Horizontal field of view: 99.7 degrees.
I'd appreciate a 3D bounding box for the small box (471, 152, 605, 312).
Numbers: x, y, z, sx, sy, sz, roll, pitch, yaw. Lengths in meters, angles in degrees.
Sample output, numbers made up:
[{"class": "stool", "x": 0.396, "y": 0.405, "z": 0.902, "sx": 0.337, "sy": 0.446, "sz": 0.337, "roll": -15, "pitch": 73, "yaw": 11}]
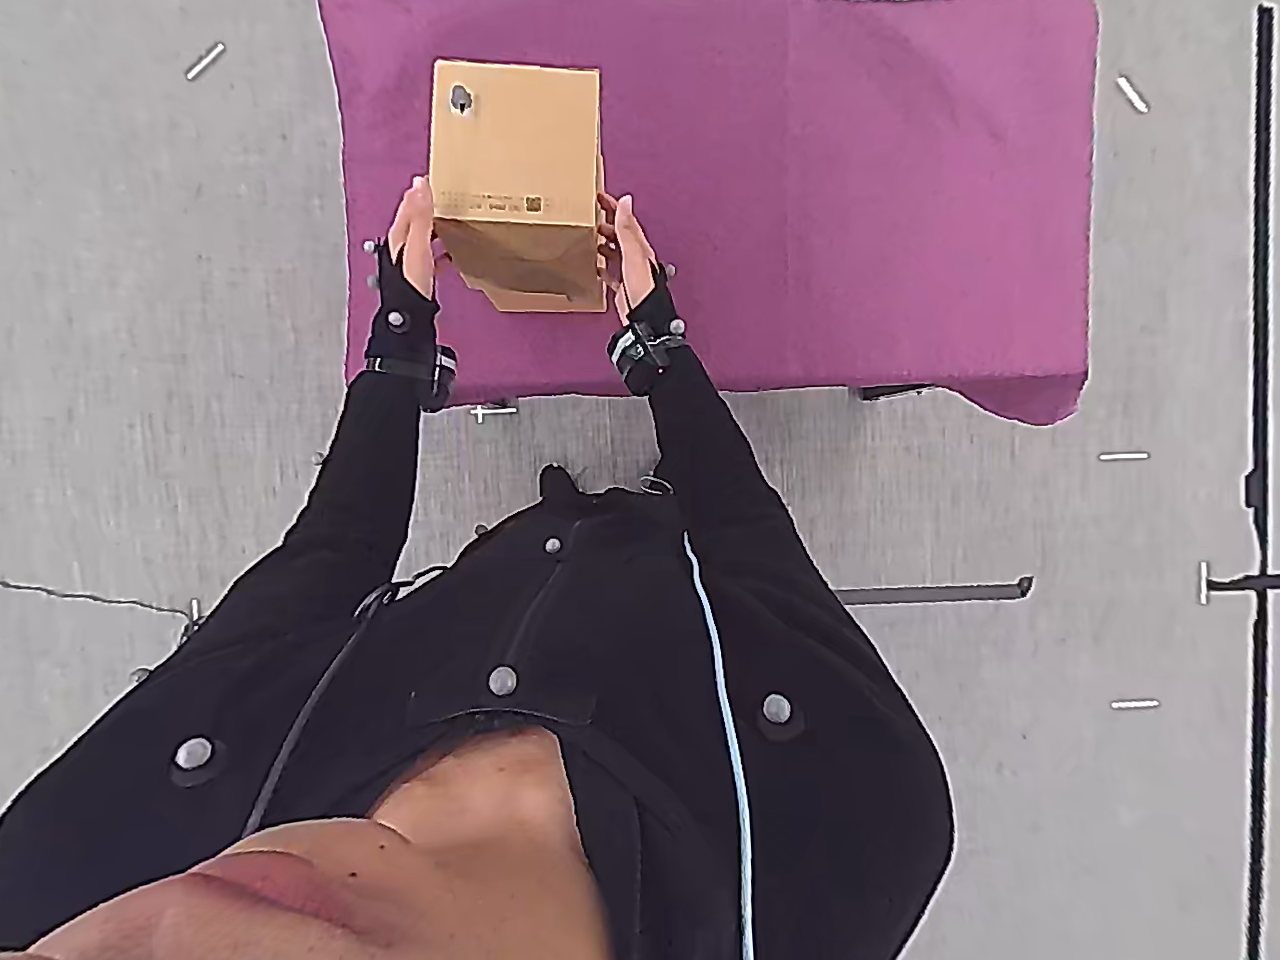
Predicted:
[{"class": "small box", "x": -0.139, "y": -0.351, "z": 0.794, "sx": 0.179, "sy": 0.176, "sz": 0.168, "roll": 0, "pitch": 93, "yaw": -3}]
